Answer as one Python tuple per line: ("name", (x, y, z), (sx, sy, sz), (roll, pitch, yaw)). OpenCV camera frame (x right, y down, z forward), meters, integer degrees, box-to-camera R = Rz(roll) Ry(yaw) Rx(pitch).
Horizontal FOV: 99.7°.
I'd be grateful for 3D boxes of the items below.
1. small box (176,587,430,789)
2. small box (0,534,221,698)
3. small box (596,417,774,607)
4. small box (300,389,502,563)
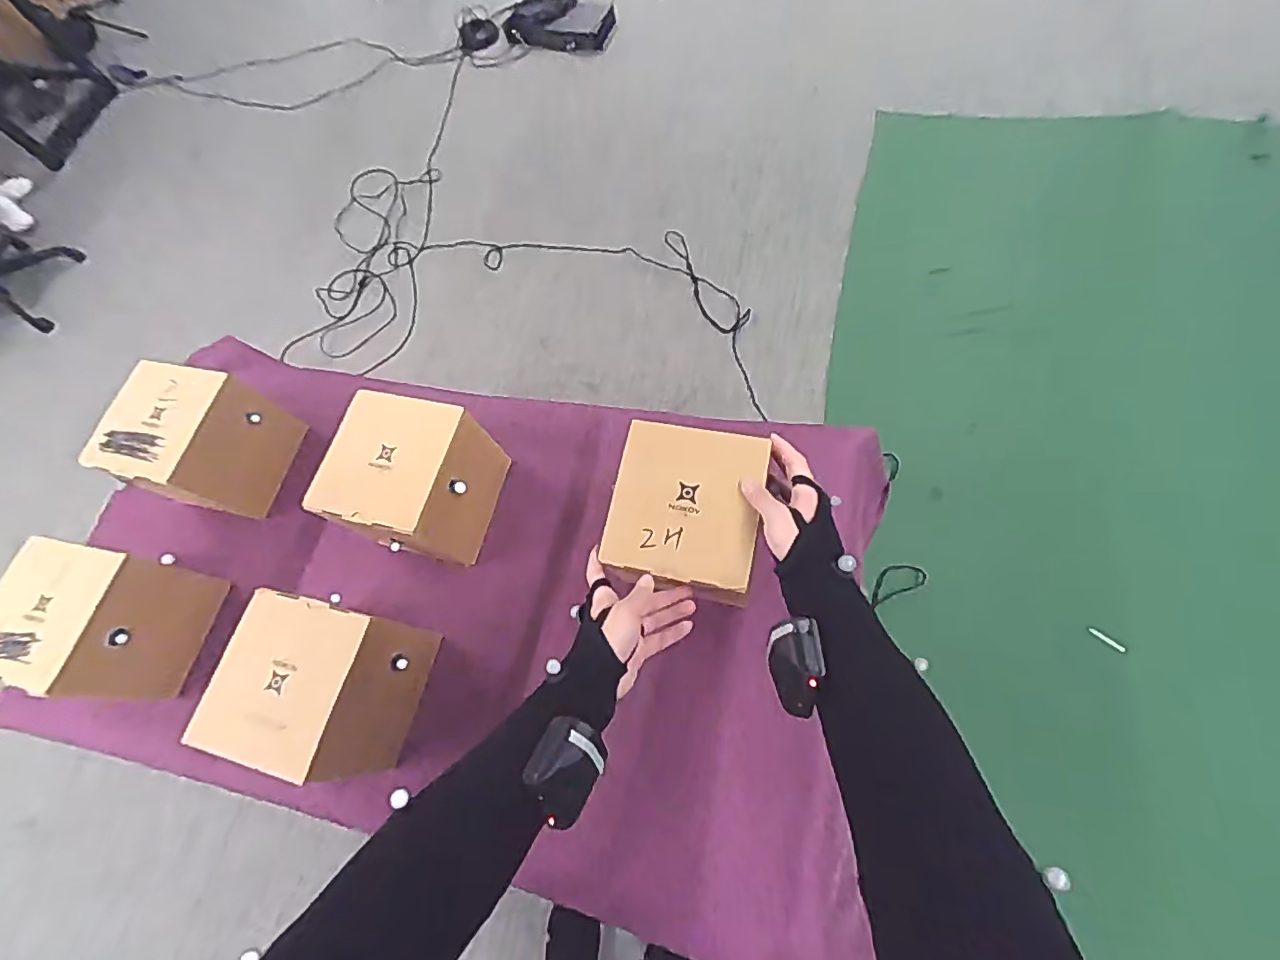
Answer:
("small box", (-0.388, 0.249, 0.662), (0.168, 0.176, 0.179), (10, 70, 14))
("small box", (-0.737, 0.193, 0.742), (0.168, 0.176, 0.179), (8, 68, 12))
("small box", (0.062, 0.046, 0.662), (0.168, 0.176, 0.179), (10, 74, 14))
("small box", (-0.312, 0.000, 0.752), (0.168, 0.176, 0.179), (11, 71, 13))
